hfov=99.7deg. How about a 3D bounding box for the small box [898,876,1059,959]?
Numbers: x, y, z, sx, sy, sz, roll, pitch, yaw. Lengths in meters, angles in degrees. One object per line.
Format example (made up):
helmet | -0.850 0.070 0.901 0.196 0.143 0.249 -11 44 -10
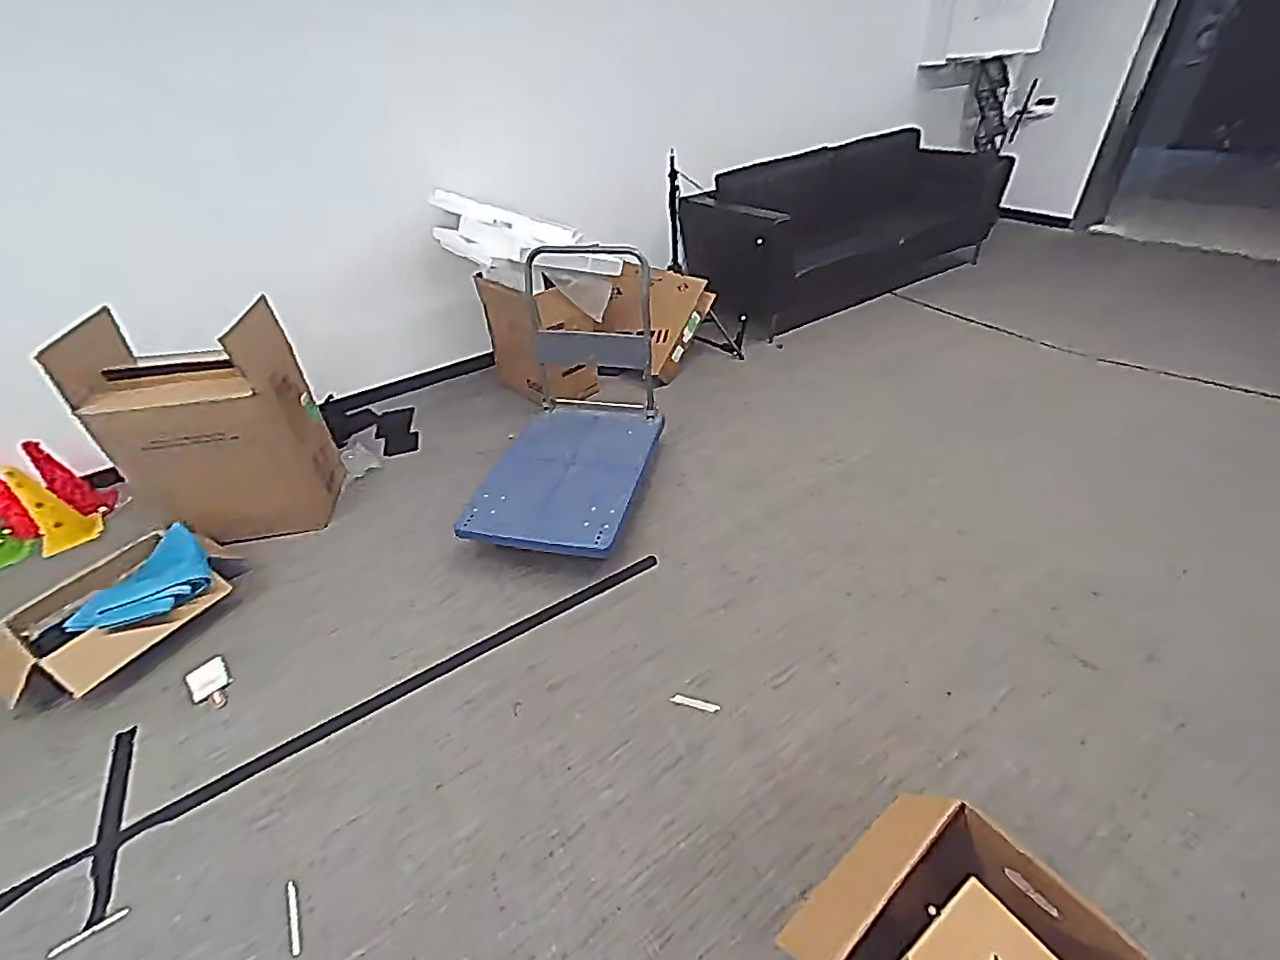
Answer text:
small box | 0.518 0.771 0.832 0.179 0.176 0.168 -26 42 -24
